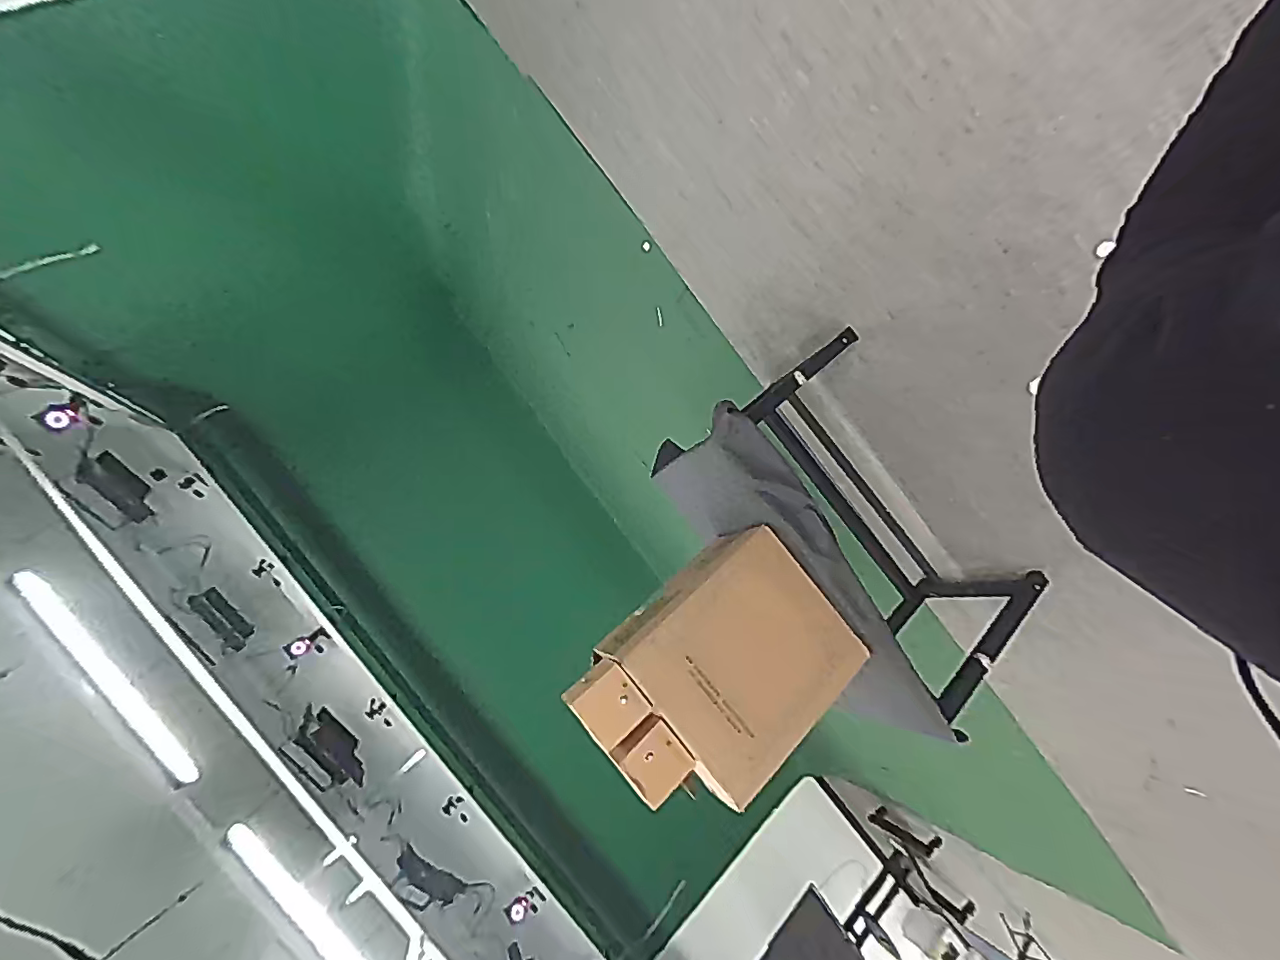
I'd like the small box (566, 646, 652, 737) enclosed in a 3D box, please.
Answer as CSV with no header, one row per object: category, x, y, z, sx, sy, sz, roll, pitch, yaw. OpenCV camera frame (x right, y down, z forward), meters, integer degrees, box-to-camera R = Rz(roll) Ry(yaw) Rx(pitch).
small box,-0.091,0.602,1.566,0.168,0.176,0.179,52,159,0
